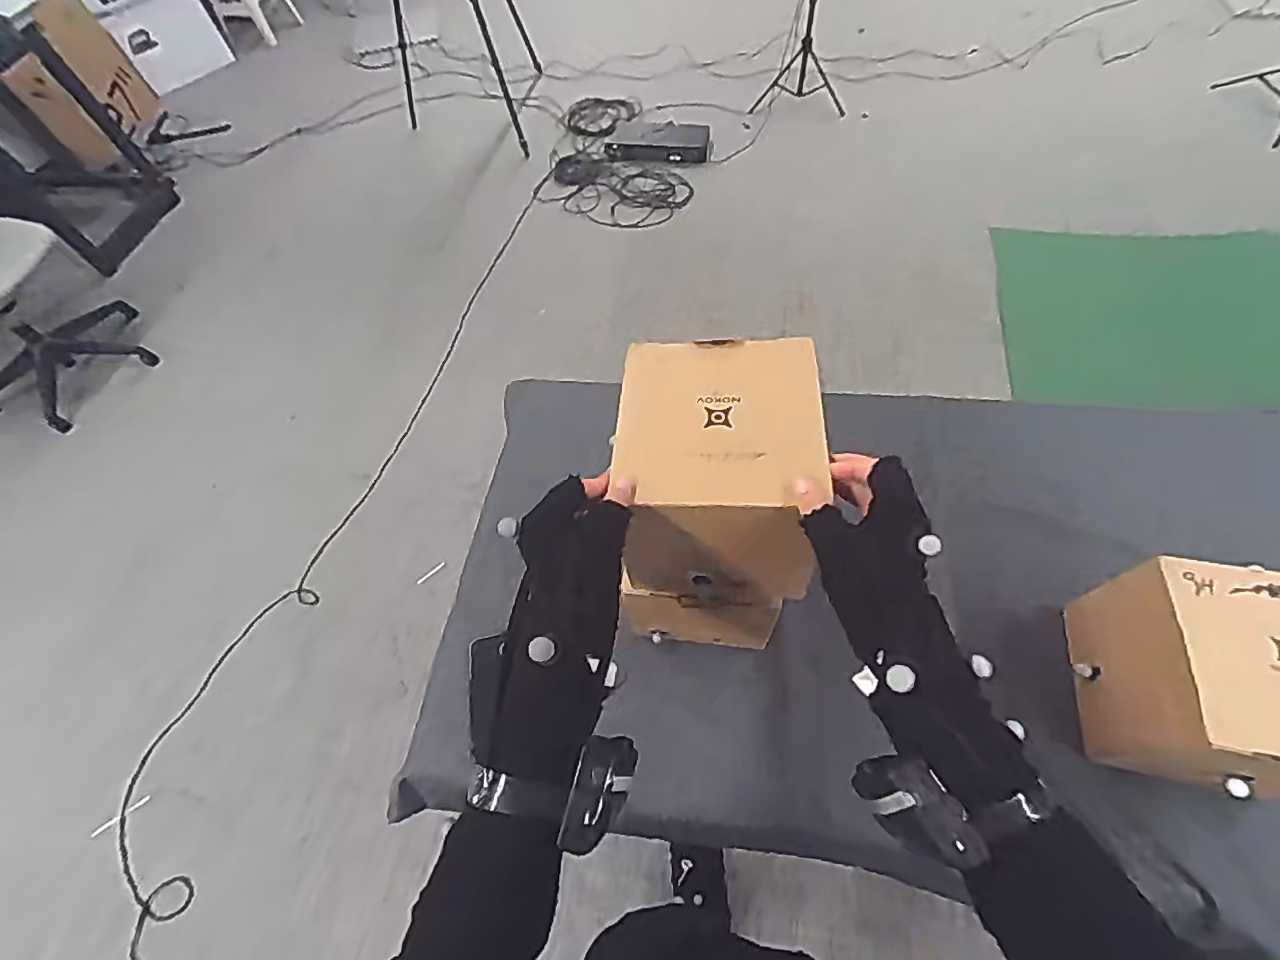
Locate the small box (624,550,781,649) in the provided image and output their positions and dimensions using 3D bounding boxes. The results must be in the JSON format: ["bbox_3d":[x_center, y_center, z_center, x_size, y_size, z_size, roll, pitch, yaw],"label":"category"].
[{"bbox_3d":[0.082,0.096,0.664,0.168,0.176,0.179,4,58,8],"label":"small box"}]

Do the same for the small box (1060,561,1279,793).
[{"bbox_3d":[0.574,0.205,0.551,0.168,0.176,0.179,8,60,10],"label":"small box"}]

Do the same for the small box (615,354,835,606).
[{"bbox_3d":[0.075,0.002,0.513,0.168,0.176,0.179,0,55,8],"label":"small box"}]
